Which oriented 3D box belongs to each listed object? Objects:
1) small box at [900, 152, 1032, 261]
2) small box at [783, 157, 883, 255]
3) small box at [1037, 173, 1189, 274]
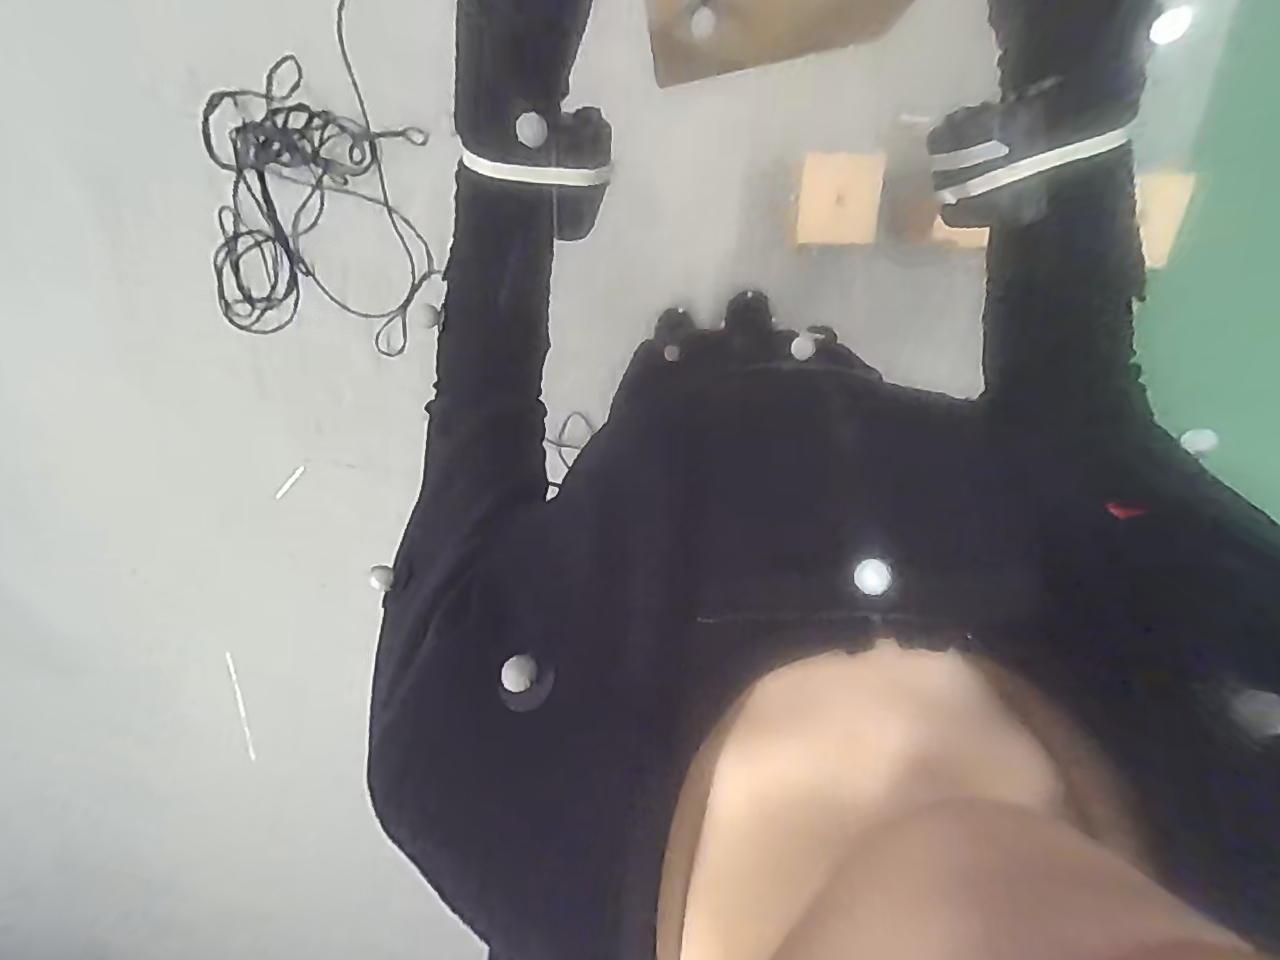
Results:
[{"bbox_3d":[0.706,-0.595,1.196,0.168,0.176,0.179,10,109,0],"label":"small box"},{"bbox_3d":[0.421,-0.604,1.209,0.168,0.176,0.179,2,110,5],"label":"small box"},{"bbox_3d":[1.023,-0.554,1.190,0.168,0.176,0.179,5,107,1],"label":"small box"}]
